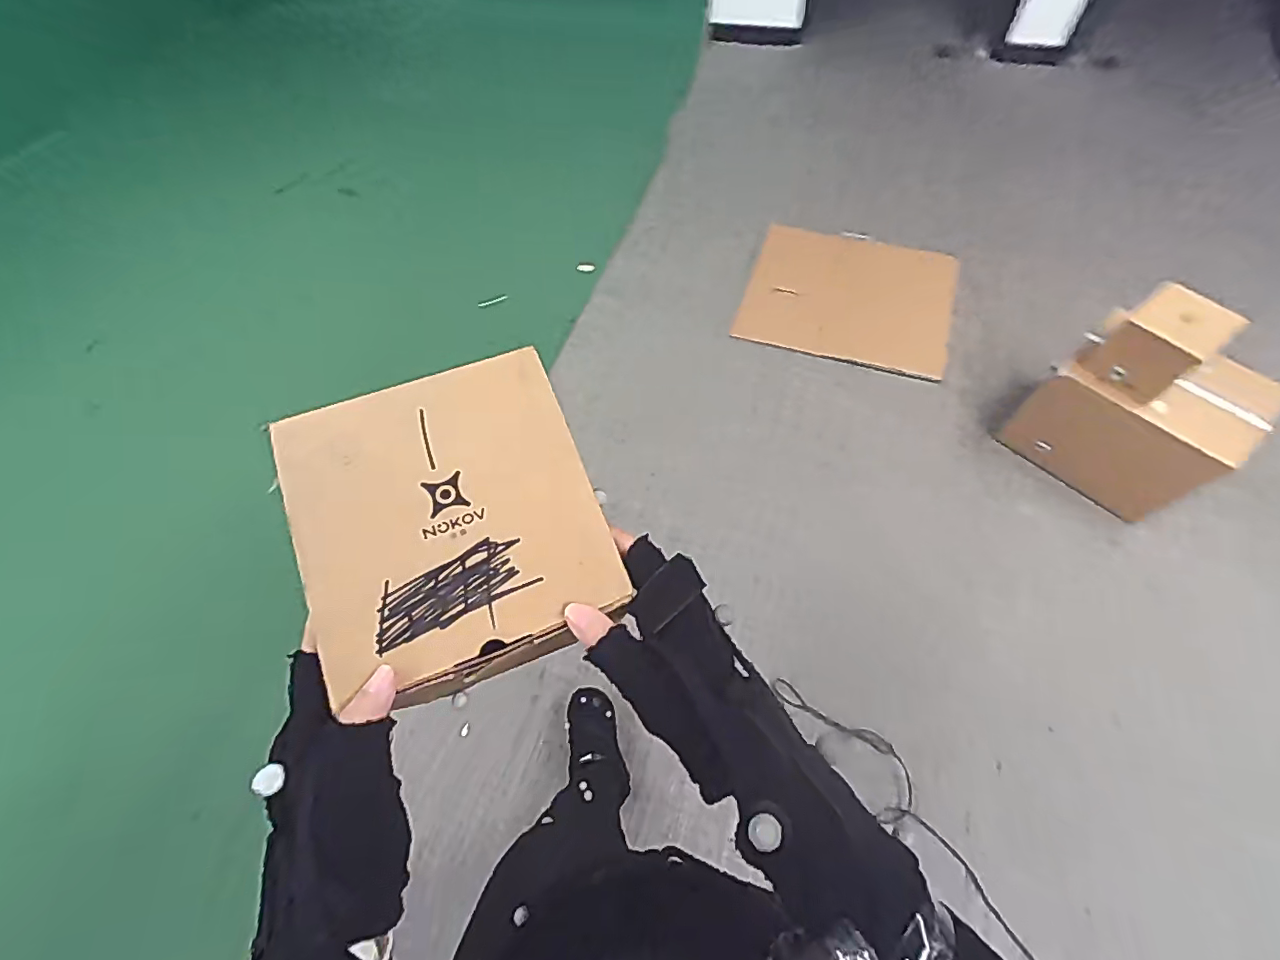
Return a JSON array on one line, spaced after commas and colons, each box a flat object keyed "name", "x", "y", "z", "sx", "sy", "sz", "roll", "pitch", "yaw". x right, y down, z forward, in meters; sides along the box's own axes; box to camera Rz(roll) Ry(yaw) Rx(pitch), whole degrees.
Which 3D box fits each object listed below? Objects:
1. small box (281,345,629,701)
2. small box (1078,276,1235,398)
[{"name": "small box", "x": -0.117, "y": 0.038, "z": 0.398, "sx": 0.168, "sy": 0.176, "sz": 0.179, "roll": -22, "pitch": 75, "yaw": -12}, {"name": "small box", "x": 1.178, "y": -0.326, "z": 1.251, "sx": 0.179, "sy": 0.176, "sz": 0.168, "roll": -37, "pitch": 64, "yaw": -13}]
